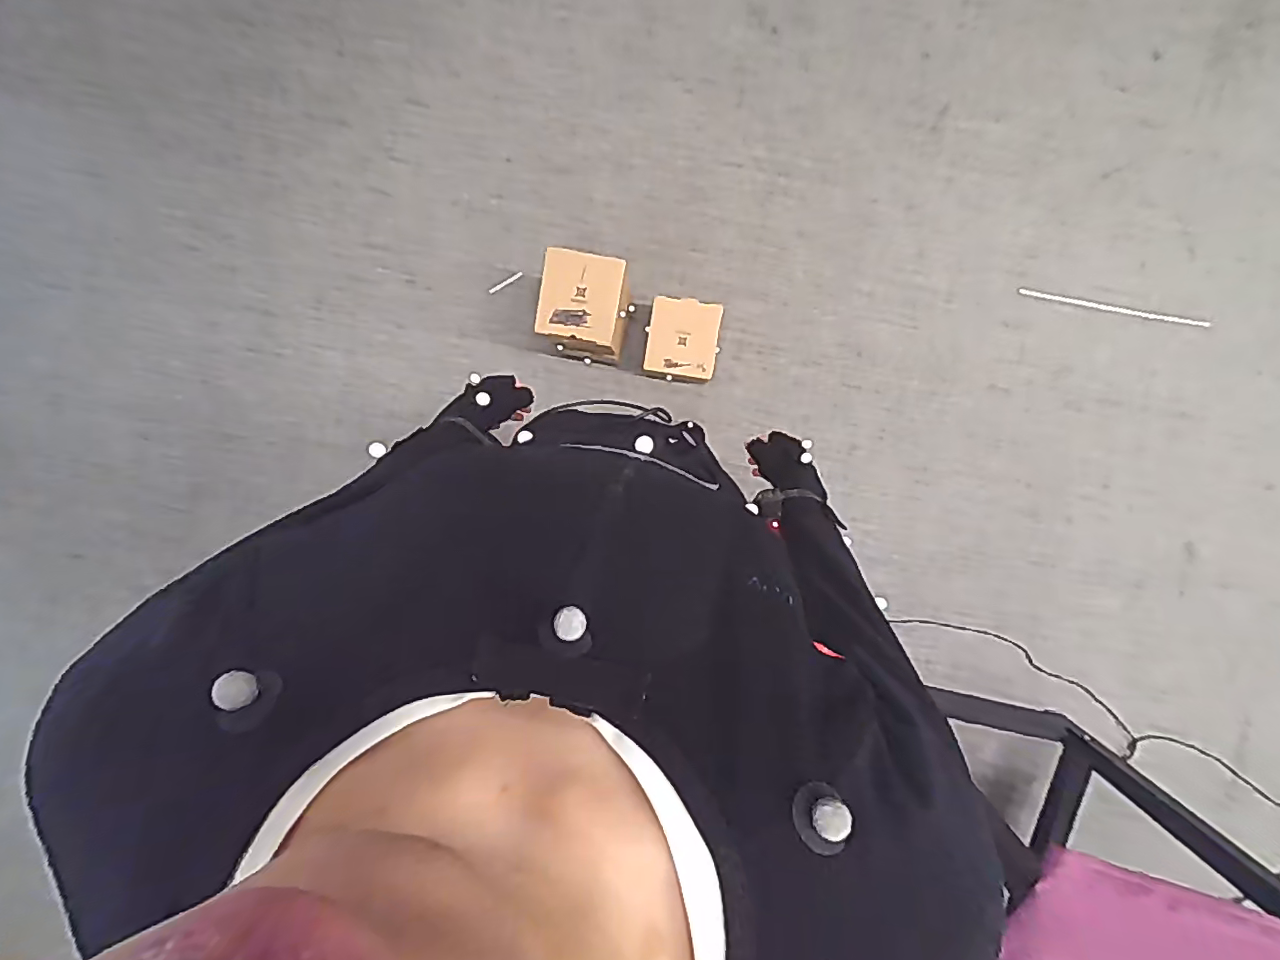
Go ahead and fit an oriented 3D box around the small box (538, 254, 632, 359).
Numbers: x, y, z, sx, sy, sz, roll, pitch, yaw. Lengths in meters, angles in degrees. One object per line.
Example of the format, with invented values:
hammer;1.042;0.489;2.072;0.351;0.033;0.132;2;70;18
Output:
small box;-0.112;-0.370;1.184;0.168;0.176;0.179;10;96;1
